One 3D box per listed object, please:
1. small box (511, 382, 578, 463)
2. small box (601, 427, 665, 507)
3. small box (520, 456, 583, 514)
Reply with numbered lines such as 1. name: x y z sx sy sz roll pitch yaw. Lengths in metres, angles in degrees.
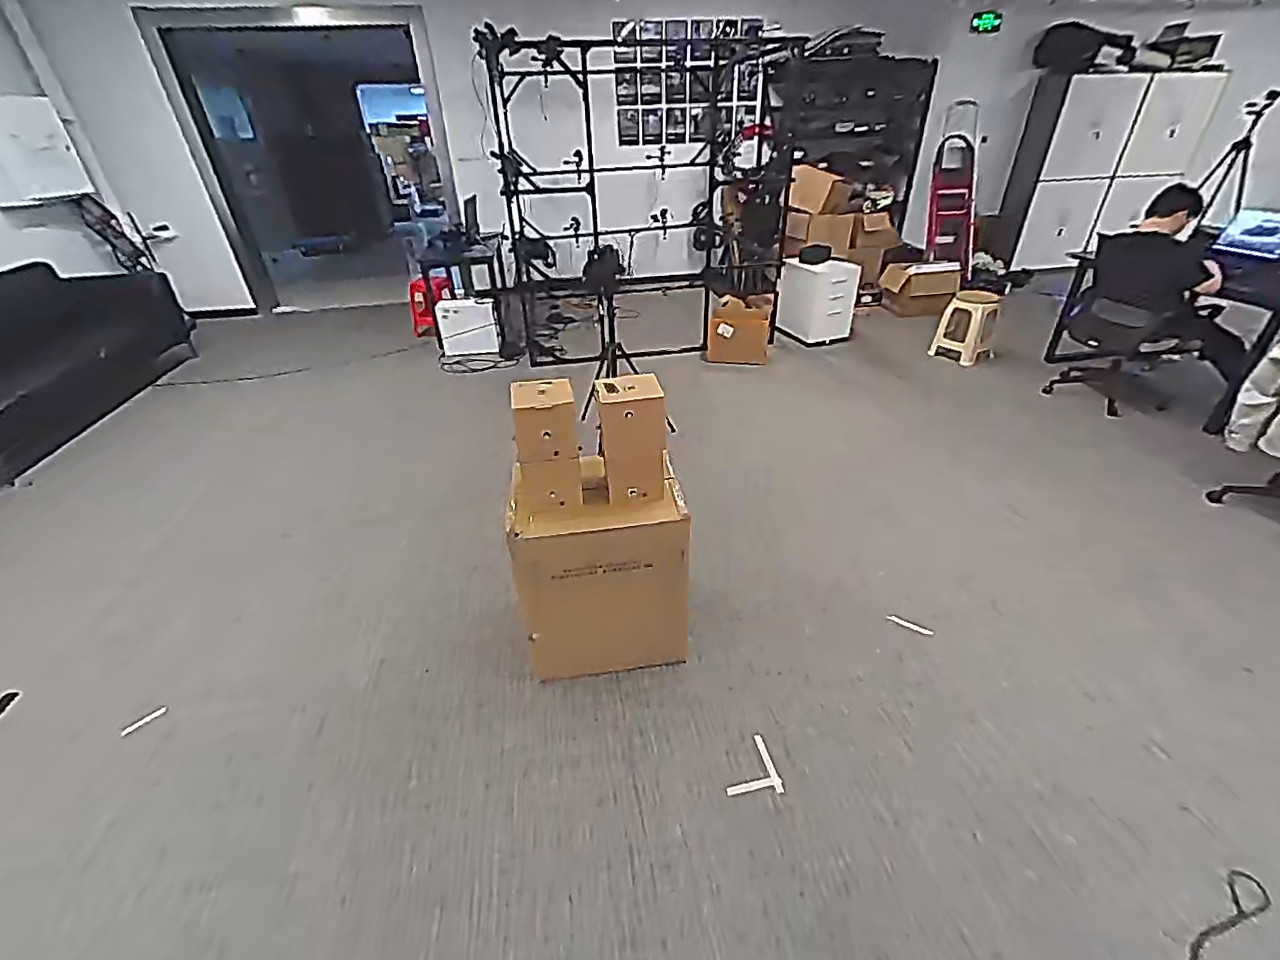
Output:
1. small box: -0.270 -0.159 1.529 0.168 0.176 0.179 -8 34 -9
2. small box: -0.022 -0.039 1.634 0.168 0.176 0.179 -9 34 -5
3. small box: -0.265 -0.019 1.616 0.168 0.176 0.179 -7 33 -8
